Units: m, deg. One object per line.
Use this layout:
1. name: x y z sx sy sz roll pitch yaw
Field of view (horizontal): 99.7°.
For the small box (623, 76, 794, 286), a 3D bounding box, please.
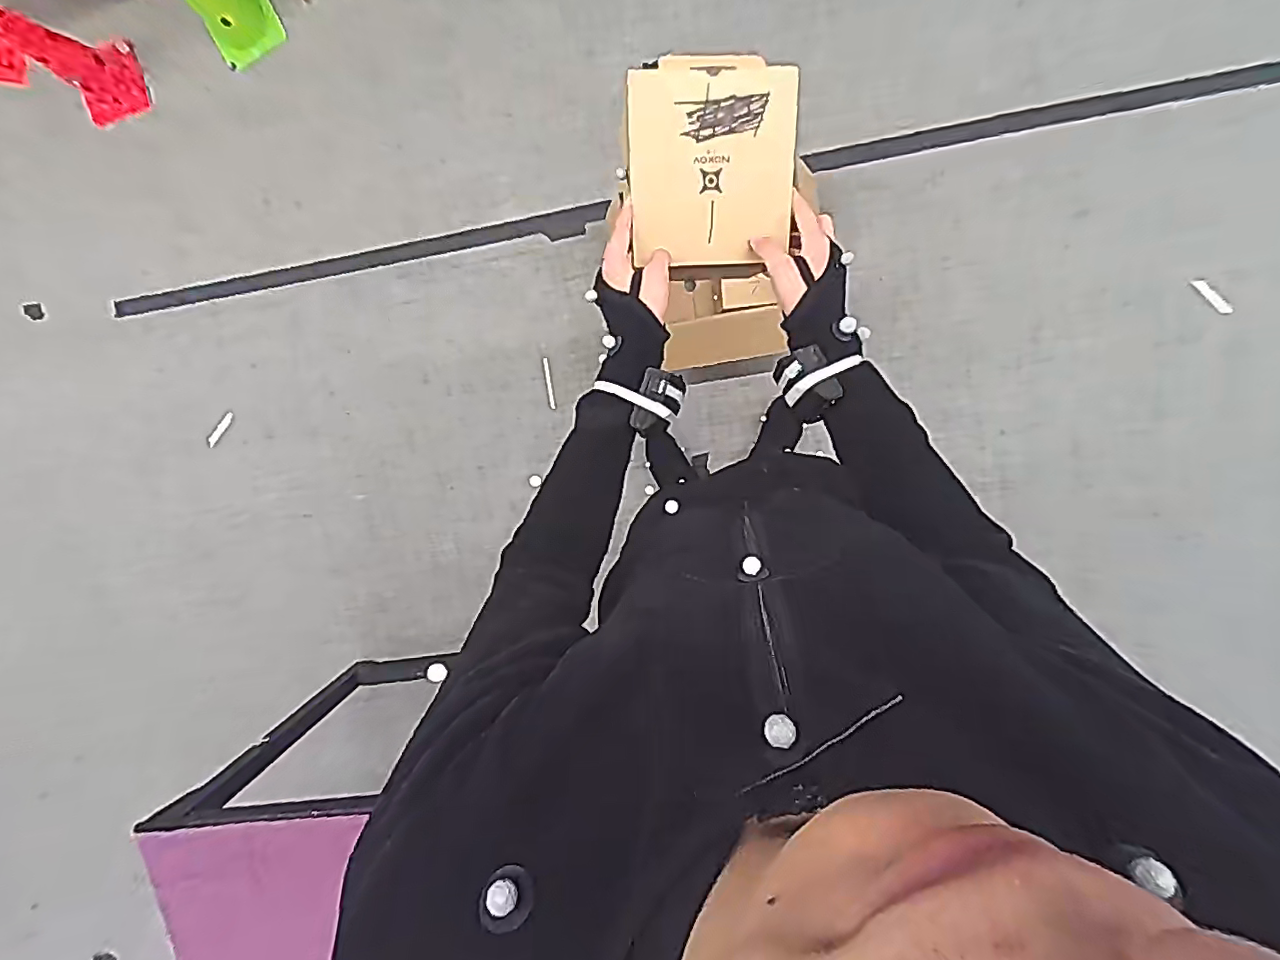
1. small box: 0.067 -0.325 0.621 0.168 0.176 0.179 -3 105 -2
